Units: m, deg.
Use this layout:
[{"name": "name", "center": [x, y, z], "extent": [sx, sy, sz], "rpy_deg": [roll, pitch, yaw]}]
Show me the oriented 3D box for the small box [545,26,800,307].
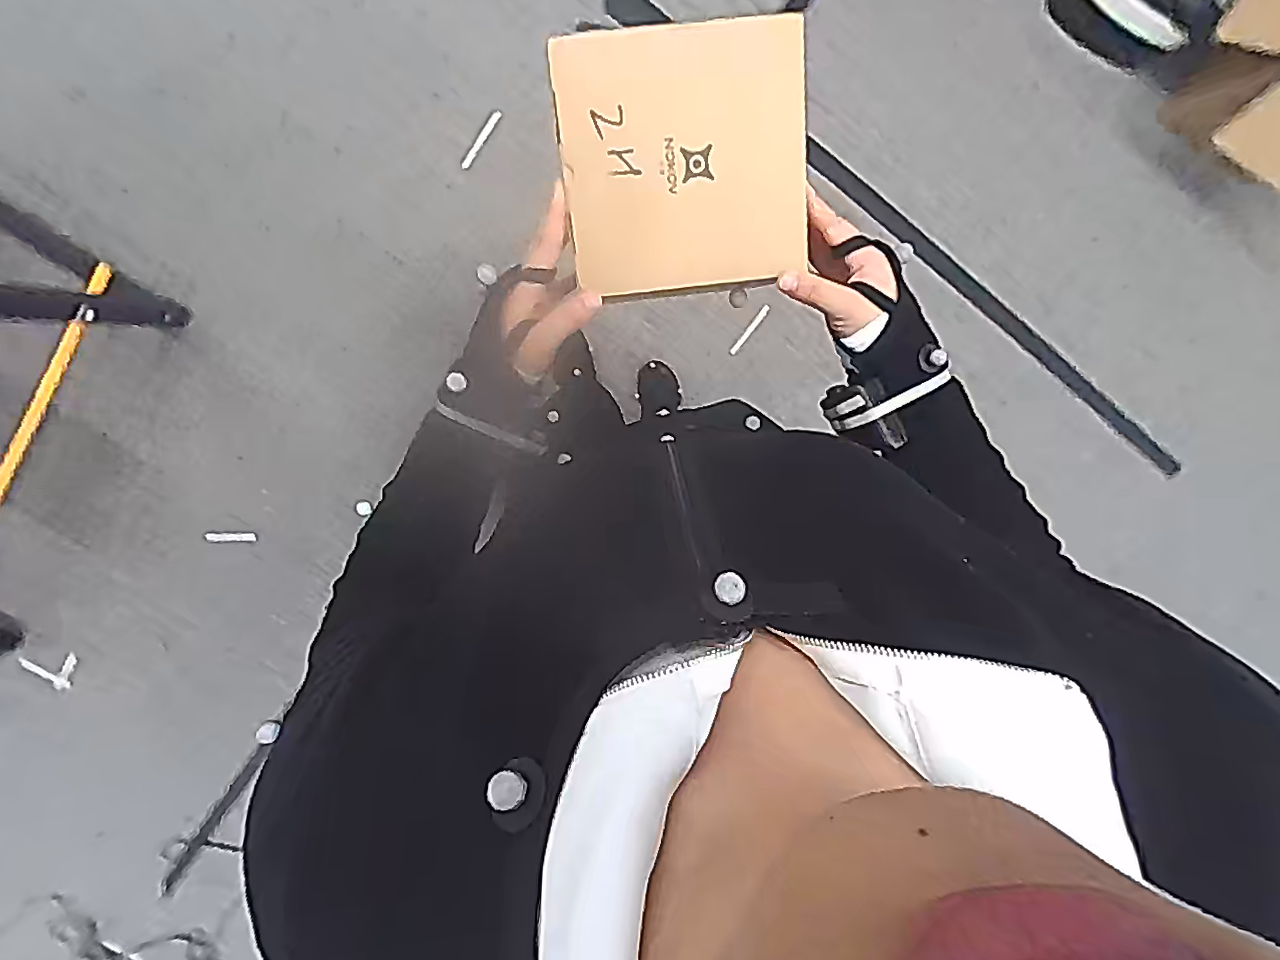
[{"name": "small box", "center": [0.024, -0.245, 0.466], "extent": [0.179, 0.176, 0.168], "rpy_deg": [-8, 106, -1]}]
